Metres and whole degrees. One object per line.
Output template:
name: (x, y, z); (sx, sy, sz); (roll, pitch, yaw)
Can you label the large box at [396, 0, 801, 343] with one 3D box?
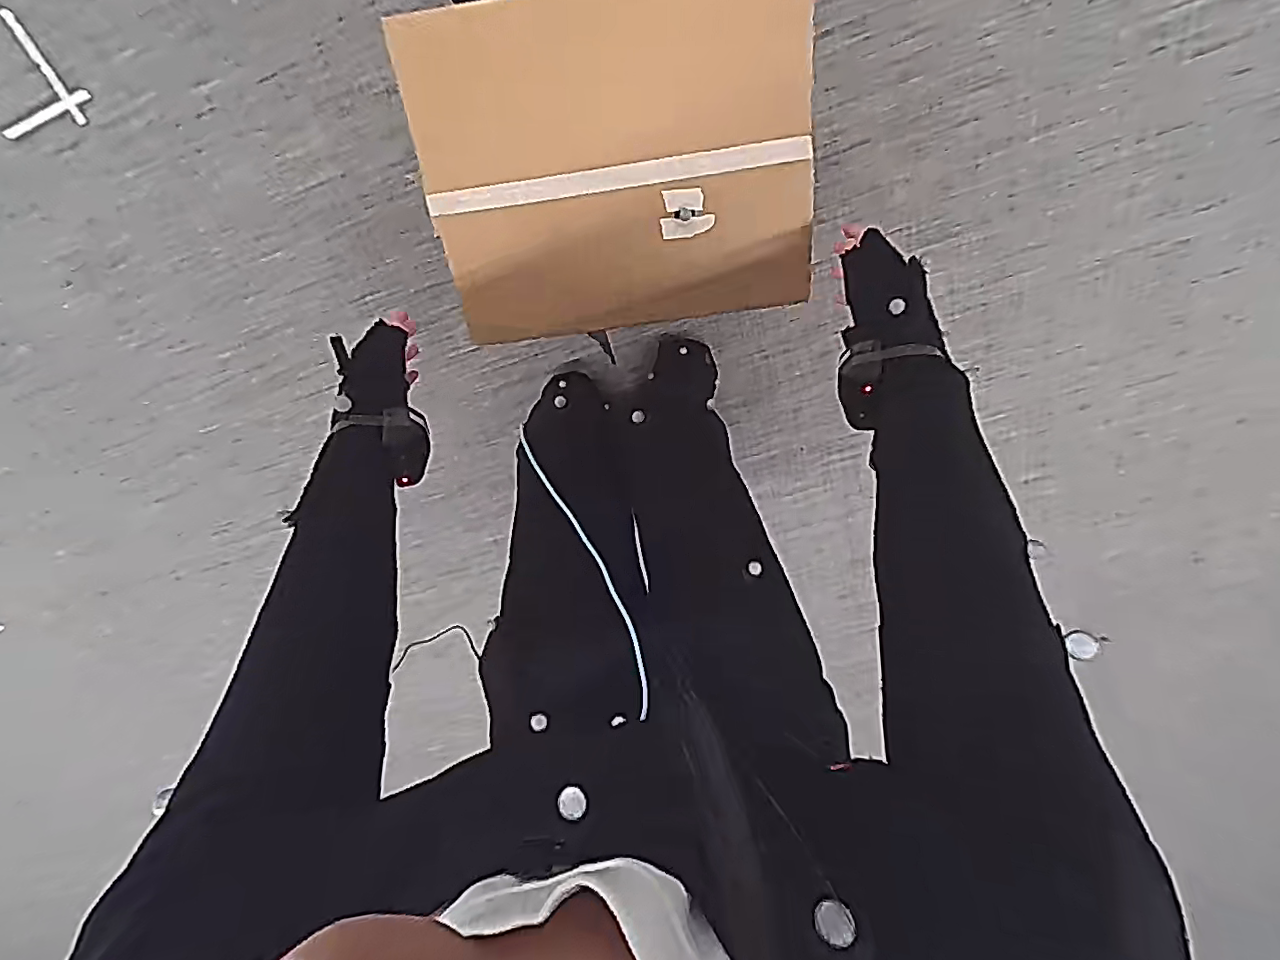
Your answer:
large box: (-0.029, -0.399, 0.721); (0.408, 0.320, 0.320); (-7, 119, 3)
